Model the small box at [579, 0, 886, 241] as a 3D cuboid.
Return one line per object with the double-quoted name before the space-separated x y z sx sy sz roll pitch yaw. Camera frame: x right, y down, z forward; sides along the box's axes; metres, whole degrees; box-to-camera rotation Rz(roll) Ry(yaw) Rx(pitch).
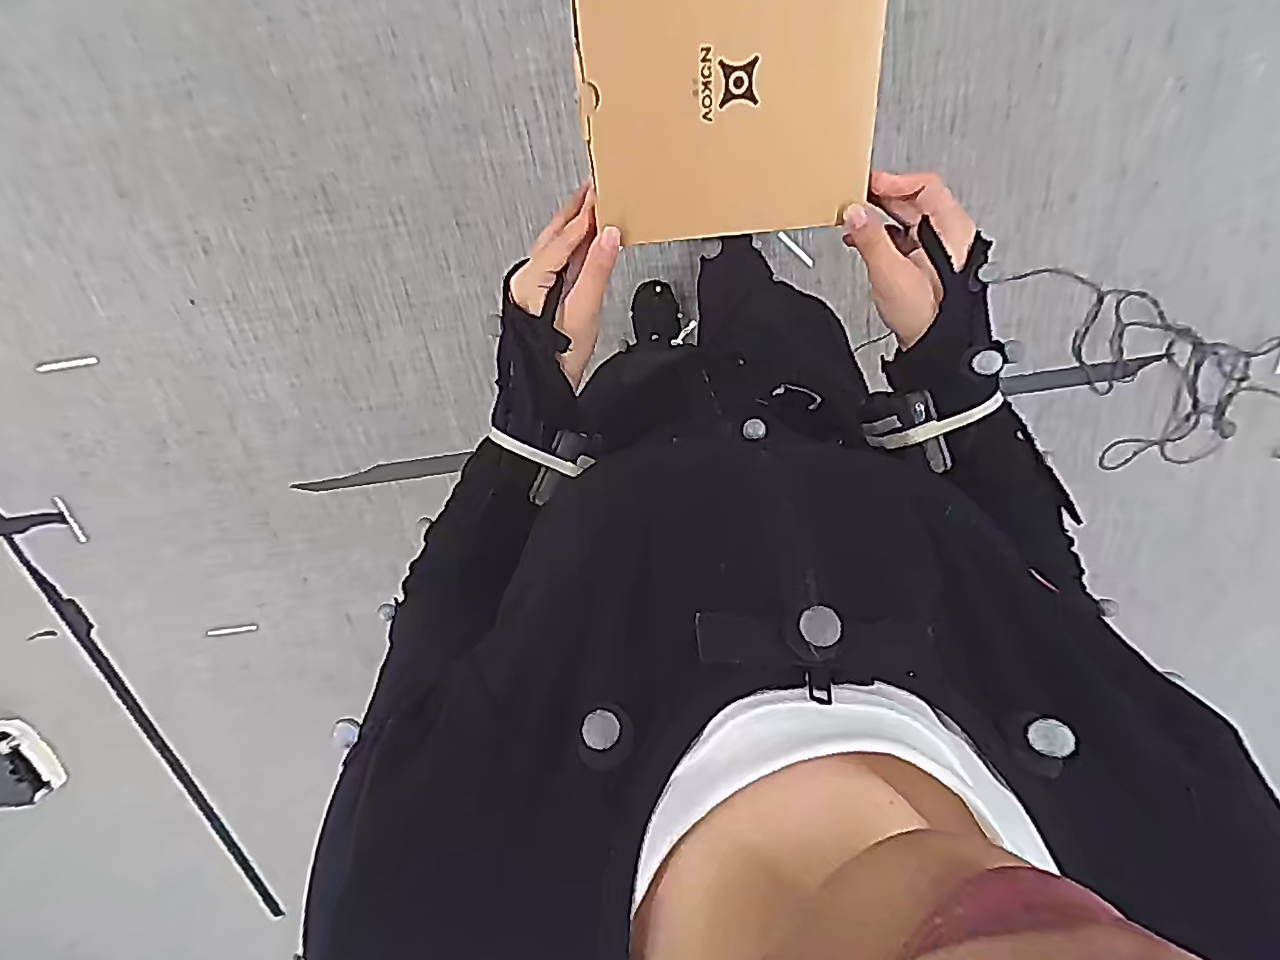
"small box" 0.053 -0.277 0.390 0.179 0.176 0.168 -5 120 2
